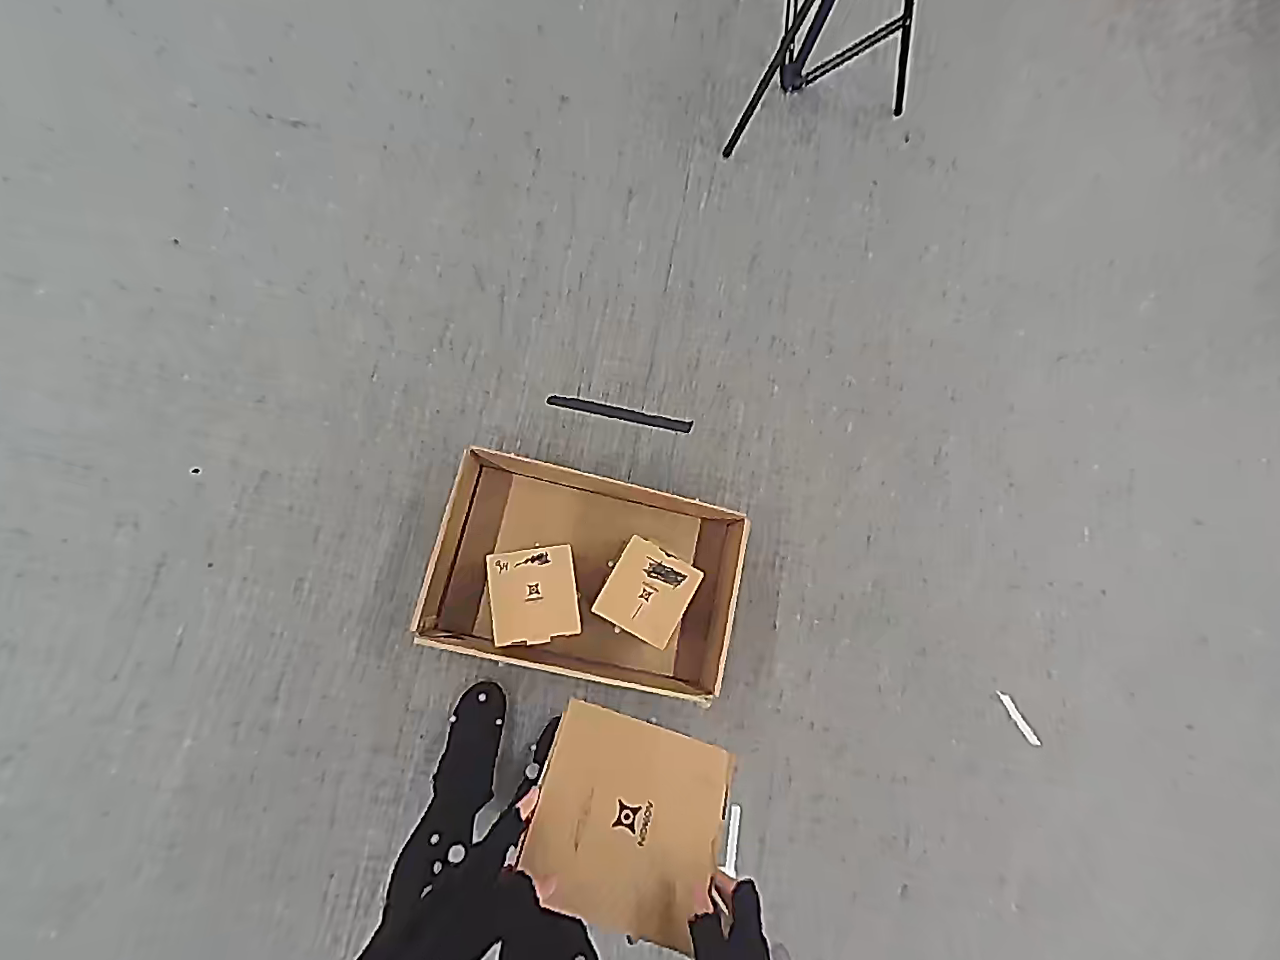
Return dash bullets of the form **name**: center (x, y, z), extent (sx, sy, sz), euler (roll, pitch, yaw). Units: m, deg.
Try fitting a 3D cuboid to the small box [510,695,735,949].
- **small box**: center (-0.023, 0.344, 0.566), extent (0.179, 0.176, 0.168), euler (19, 58, -1)
